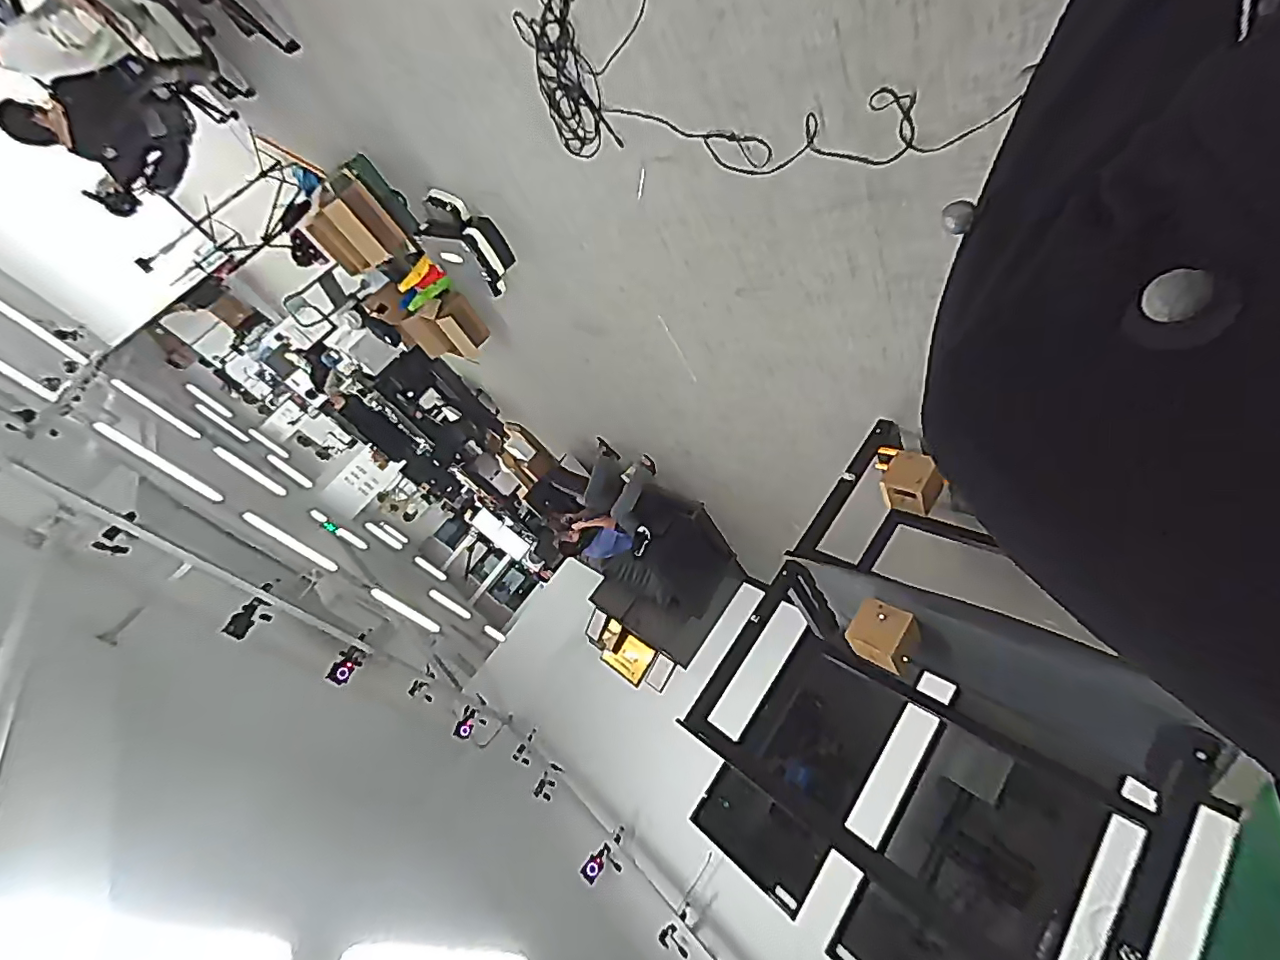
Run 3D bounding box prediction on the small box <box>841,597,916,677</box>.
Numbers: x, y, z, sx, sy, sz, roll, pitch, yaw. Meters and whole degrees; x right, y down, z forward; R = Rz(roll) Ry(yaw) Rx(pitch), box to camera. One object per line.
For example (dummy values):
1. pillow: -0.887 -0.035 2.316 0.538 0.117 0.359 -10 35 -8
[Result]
1. small box: 0.822 0.535 1.854 0.168 0.176 0.179 19 156 46
